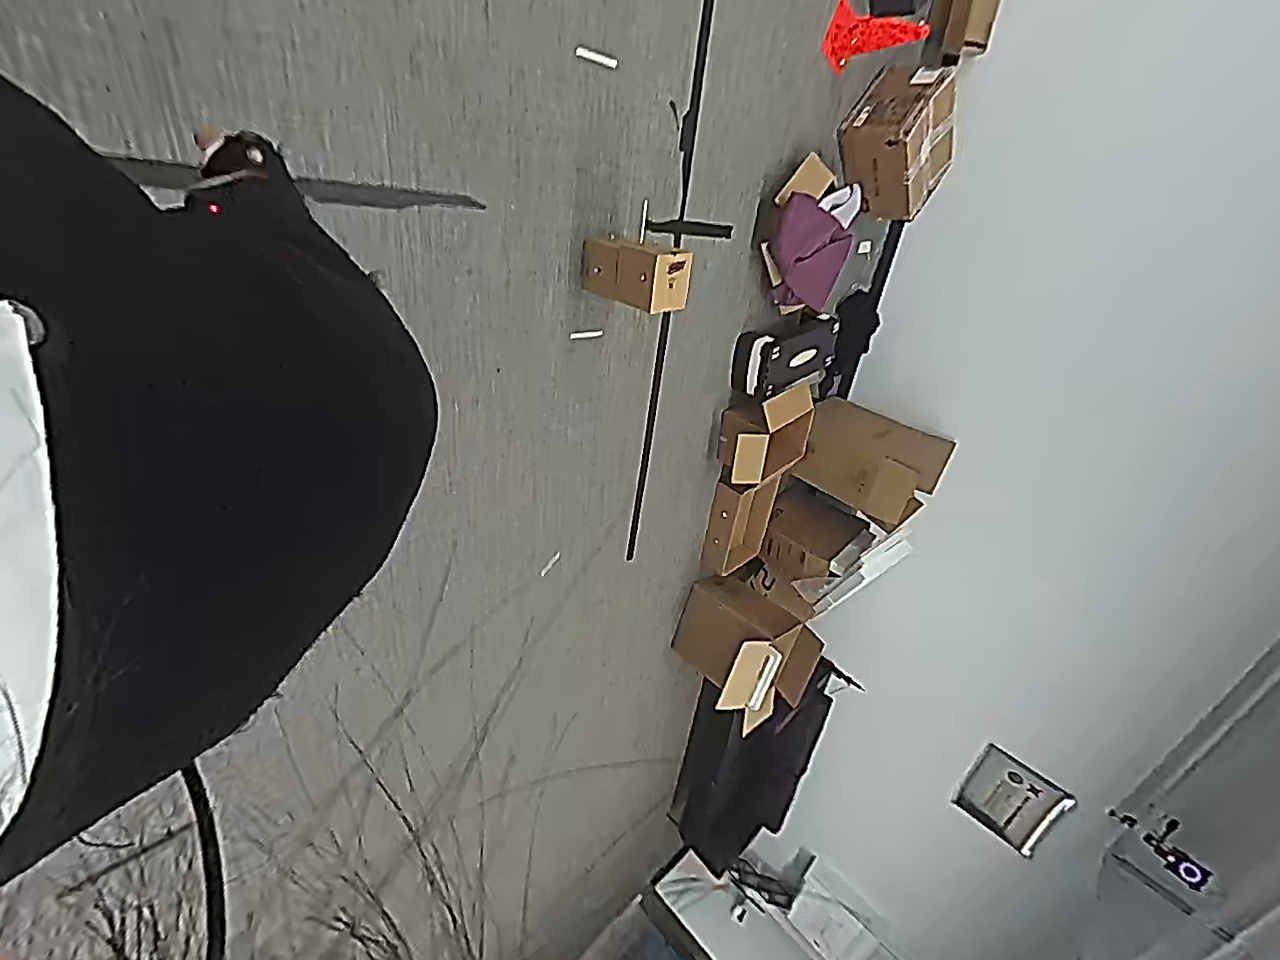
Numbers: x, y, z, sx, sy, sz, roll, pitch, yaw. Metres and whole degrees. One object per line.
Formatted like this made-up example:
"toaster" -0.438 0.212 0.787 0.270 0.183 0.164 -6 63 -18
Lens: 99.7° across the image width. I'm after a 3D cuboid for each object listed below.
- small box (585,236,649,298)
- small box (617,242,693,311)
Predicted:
"small box" -0.070 -0.720 1.820 0.179 0.176 0.168 -22 131 -39
"small box" 0.043 -0.653 1.719 0.168 0.176 0.179 -23 133 -39
